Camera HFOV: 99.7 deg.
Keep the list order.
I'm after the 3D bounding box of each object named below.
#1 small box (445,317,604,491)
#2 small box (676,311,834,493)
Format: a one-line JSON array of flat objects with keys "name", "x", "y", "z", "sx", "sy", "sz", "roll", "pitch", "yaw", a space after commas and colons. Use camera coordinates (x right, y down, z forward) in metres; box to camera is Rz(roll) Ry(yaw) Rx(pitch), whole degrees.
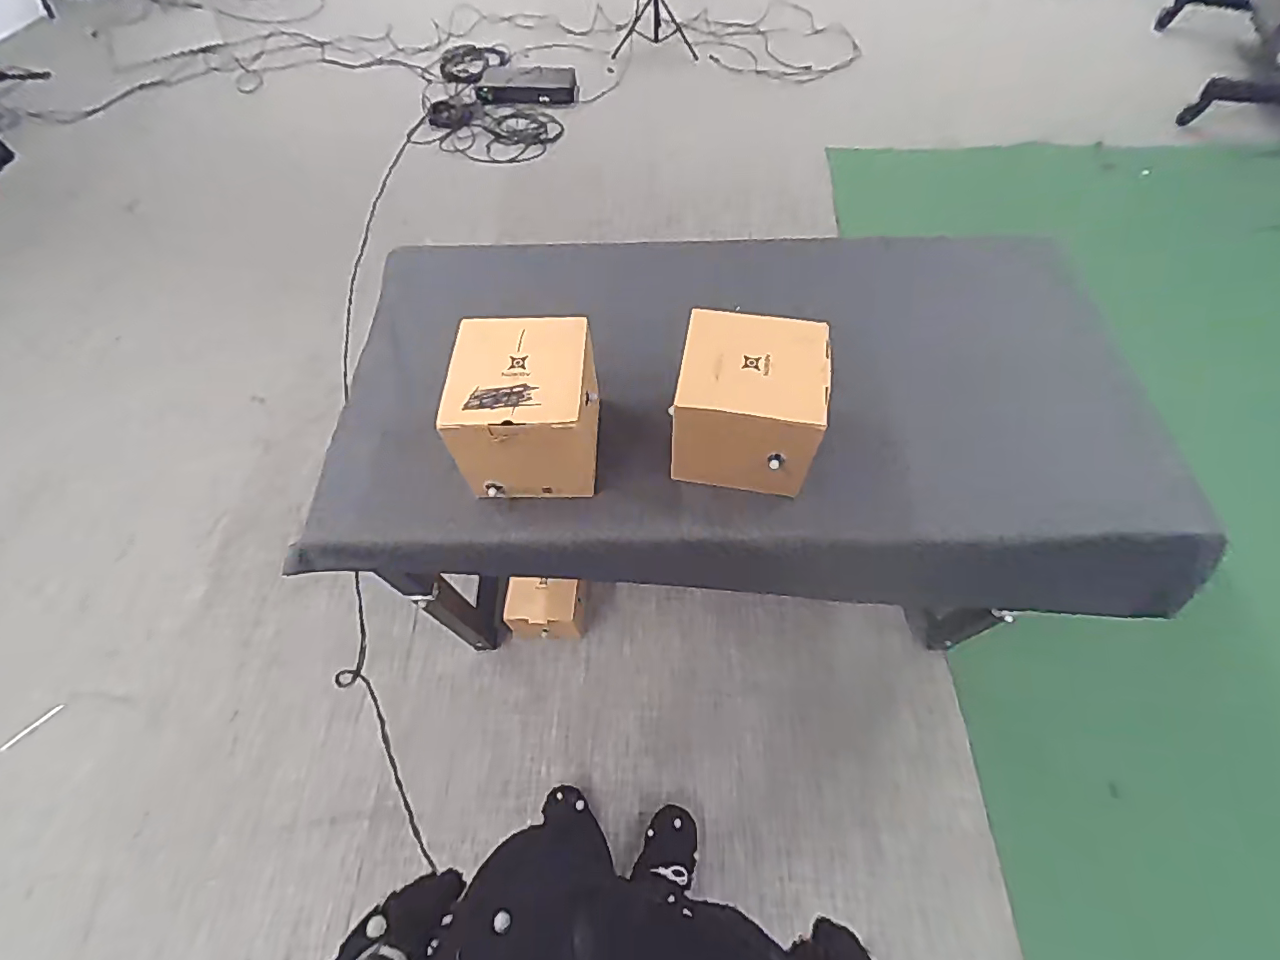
[{"name": "small box", "x": -0.139, "y": -0.096, "z": 0.729, "sx": 0.168, "sy": 0.176, "sz": 0.179, "roll": 0, "pitch": 59, "yaw": 2}, {"name": "small box", "x": 0.148, "y": -0.098, "z": 0.724, "sx": 0.179, "sy": 0.176, "sz": 0.168, "roll": 8, "pitch": 60, "yaw": 8}]
